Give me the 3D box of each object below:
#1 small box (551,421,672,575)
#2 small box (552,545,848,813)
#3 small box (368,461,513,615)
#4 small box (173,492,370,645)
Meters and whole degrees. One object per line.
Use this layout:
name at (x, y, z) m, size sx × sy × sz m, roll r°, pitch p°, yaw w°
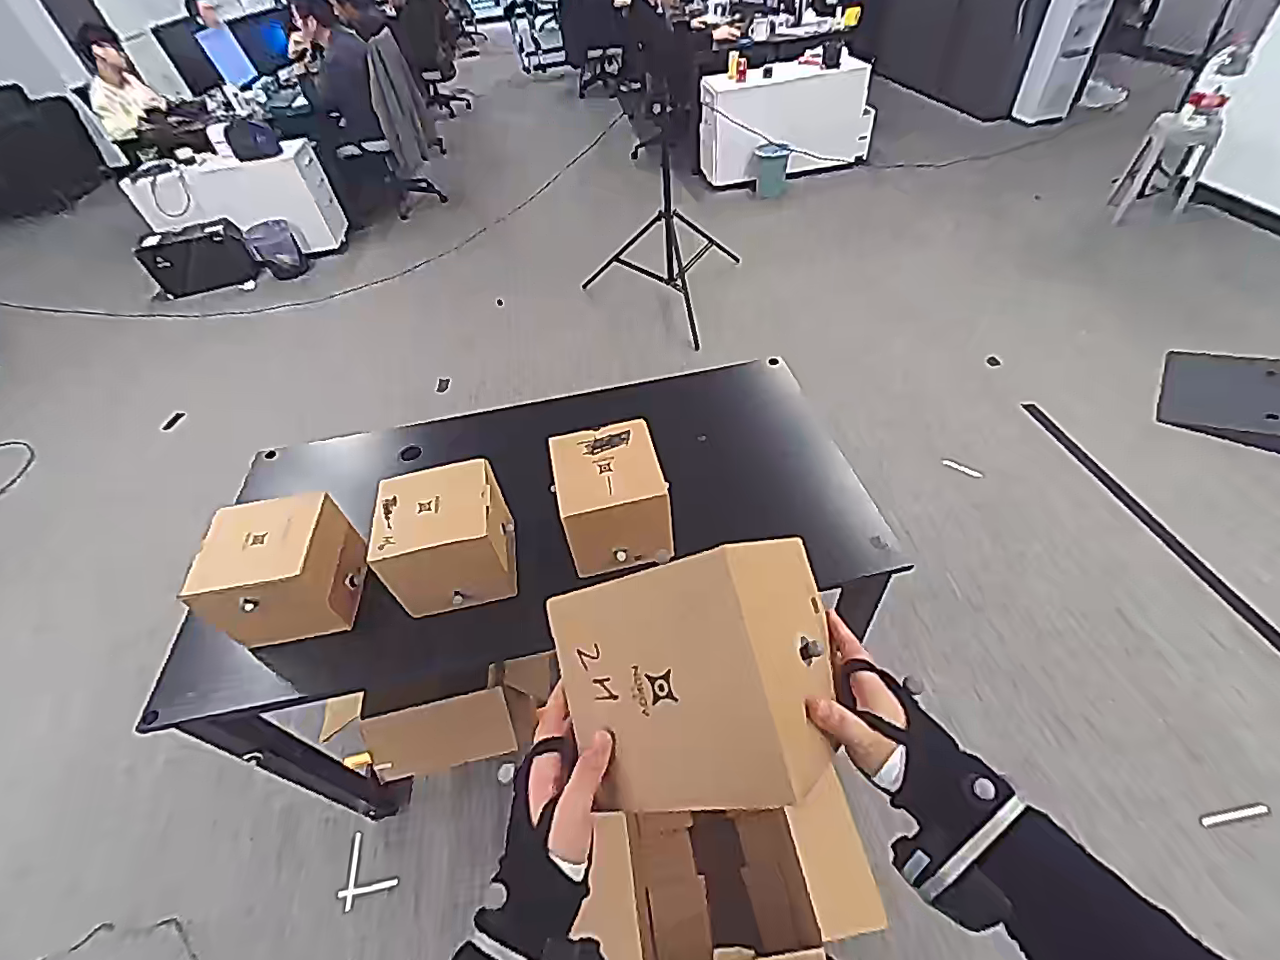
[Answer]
small box at (-0.046, 0.031, 0.905) m, size 0.168 × 0.176 × 0.179 m, roll -13°, pitch 48°, yaw -4°
small box at (0.058, 0.153, 0.452) m, size 0.179 × 0.176 × 0.168 m, roll -23°, pitch 73°, yaw 30°
small box at (-0.309, 0.096, 0.878) m, size 0.179 × 0.176 × 0.168 m, roll -11°, pitch 47°, yaw -5°
small box at (-0.568, 0.146, 0.864) m, size 0.179 × 0.176 × 0.168 m, roll -9°, pitch 48°, yaw -3°
